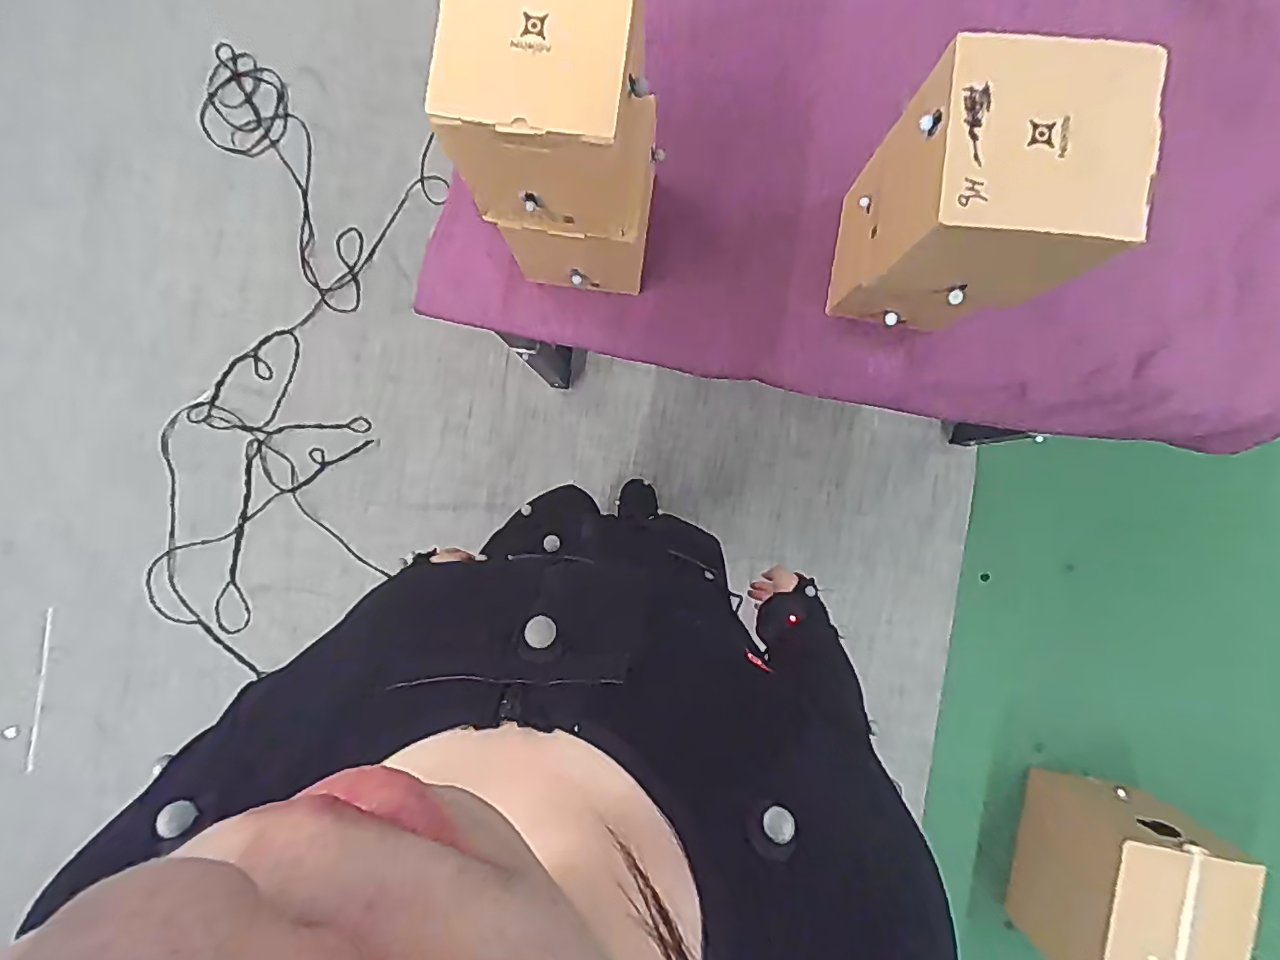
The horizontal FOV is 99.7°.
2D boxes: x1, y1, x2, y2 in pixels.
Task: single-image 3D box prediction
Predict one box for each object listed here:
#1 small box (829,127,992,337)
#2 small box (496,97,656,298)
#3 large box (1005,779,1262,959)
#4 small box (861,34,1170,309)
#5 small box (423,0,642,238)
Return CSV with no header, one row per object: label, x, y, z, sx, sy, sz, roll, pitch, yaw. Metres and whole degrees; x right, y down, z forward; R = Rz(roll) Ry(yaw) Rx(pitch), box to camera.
small box,0.357,-0.301,0.691,0.168,0.176,0.179,10,90,1
small box,-0.074,-0.359,0.695,0.168,0.176,0.179,8,88,1
large box,1.166,1.023,1.318,0.320,0.320,0.408,10,90,1
small box,0.342,-0.278,0.527,0.179,0.176,0.168,7,90,1
small box,-0.090,-0.372,0.534,0.168,0.176,0.179,8,88,1
